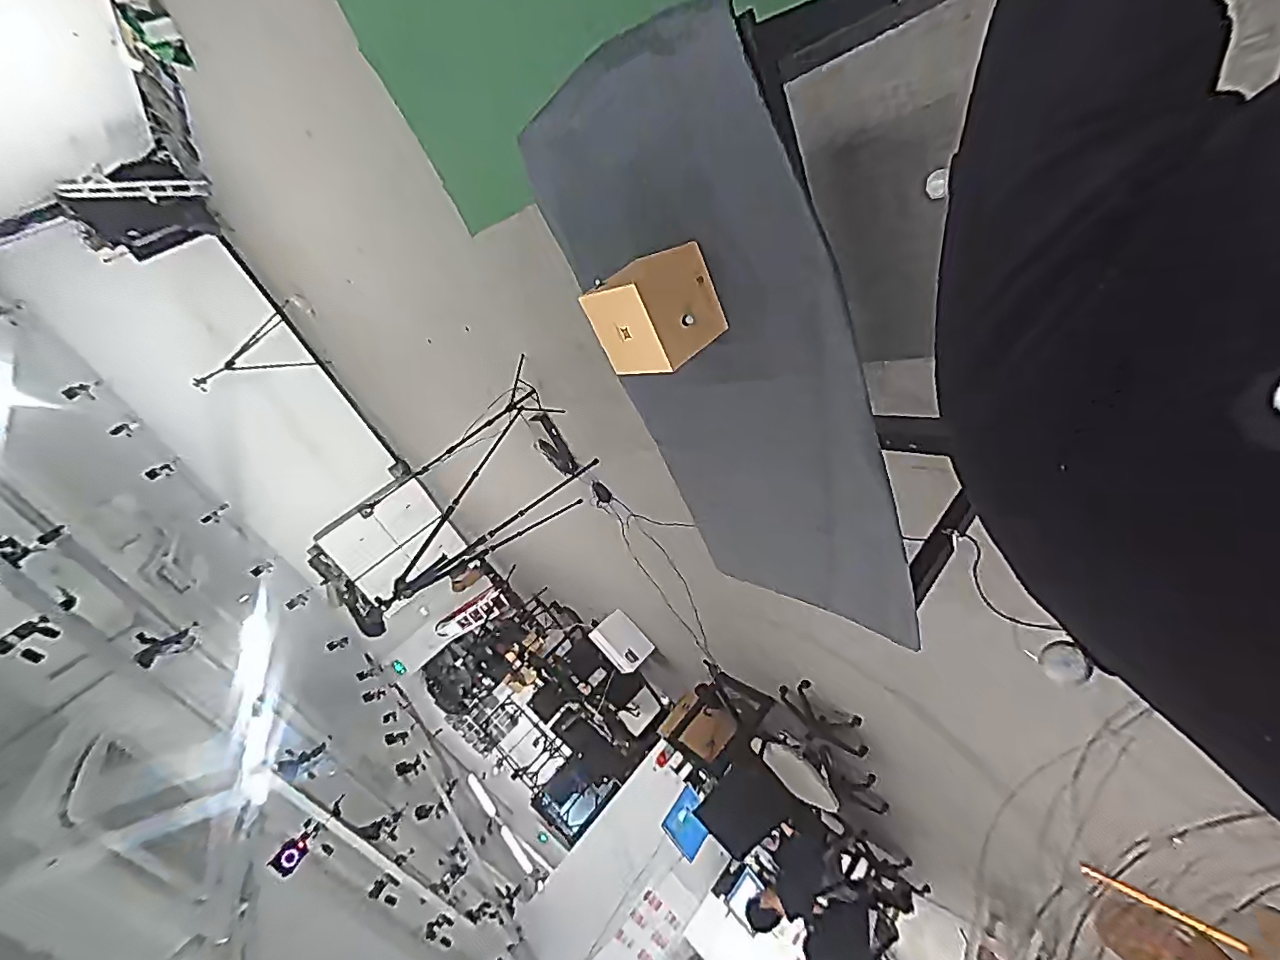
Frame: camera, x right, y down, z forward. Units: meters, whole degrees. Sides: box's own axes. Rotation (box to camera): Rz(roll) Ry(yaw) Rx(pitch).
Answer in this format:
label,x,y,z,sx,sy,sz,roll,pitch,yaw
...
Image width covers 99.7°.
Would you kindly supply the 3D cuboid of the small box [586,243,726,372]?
label,x,y,z,sx,sy,sz,roll,pitch,yaw
small box,0.038,-0.317,1.006,0.179,0.176,0.168,13,138,52
